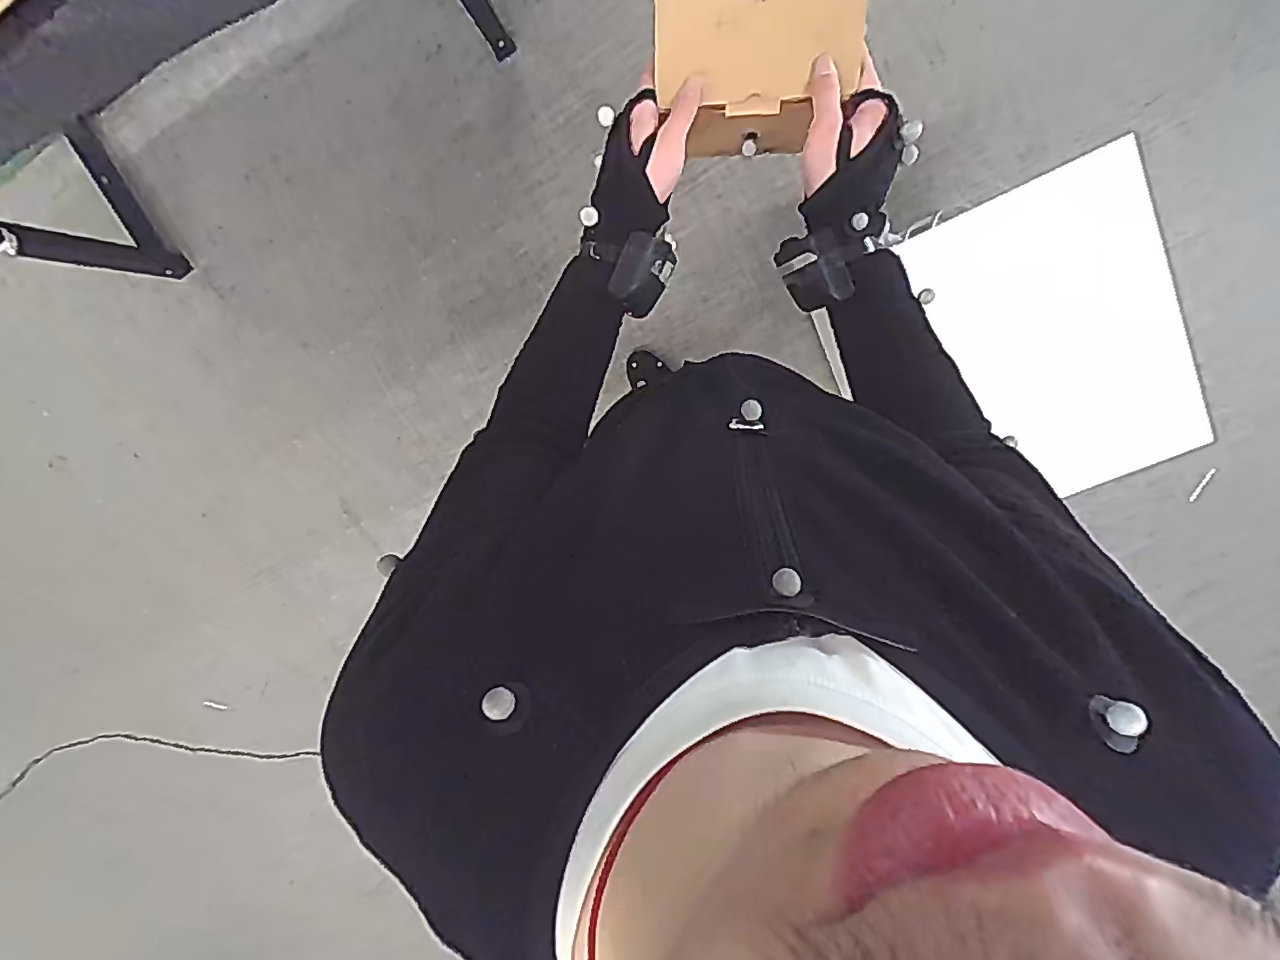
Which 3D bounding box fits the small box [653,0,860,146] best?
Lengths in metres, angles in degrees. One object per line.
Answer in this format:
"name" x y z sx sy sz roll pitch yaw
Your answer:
"small box" 0.105 -0.425 0.497 0.168 0.176 0.179 0 108 10
